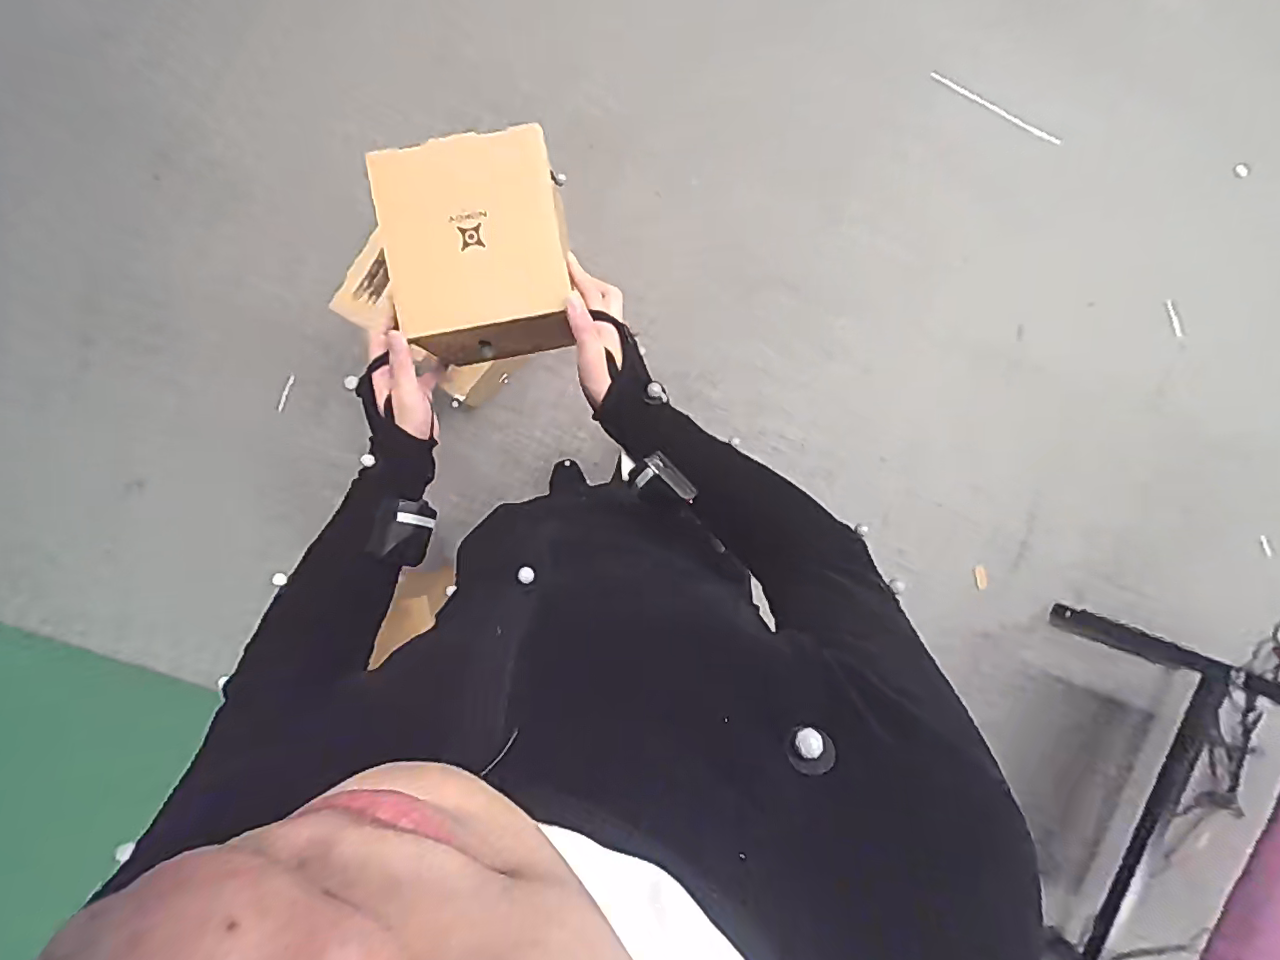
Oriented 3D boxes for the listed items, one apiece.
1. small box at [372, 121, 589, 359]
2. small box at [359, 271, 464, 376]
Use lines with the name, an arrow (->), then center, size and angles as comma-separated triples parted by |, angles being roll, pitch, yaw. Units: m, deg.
small box -> -0.152, -0.234, 0.578 | 0.168, 0.176, 0.179 | -10, 92, 0
small box -> -0.453, -0.337, 1.160 | 0.179, 0.176, 0.168 | 32, 90, -9
